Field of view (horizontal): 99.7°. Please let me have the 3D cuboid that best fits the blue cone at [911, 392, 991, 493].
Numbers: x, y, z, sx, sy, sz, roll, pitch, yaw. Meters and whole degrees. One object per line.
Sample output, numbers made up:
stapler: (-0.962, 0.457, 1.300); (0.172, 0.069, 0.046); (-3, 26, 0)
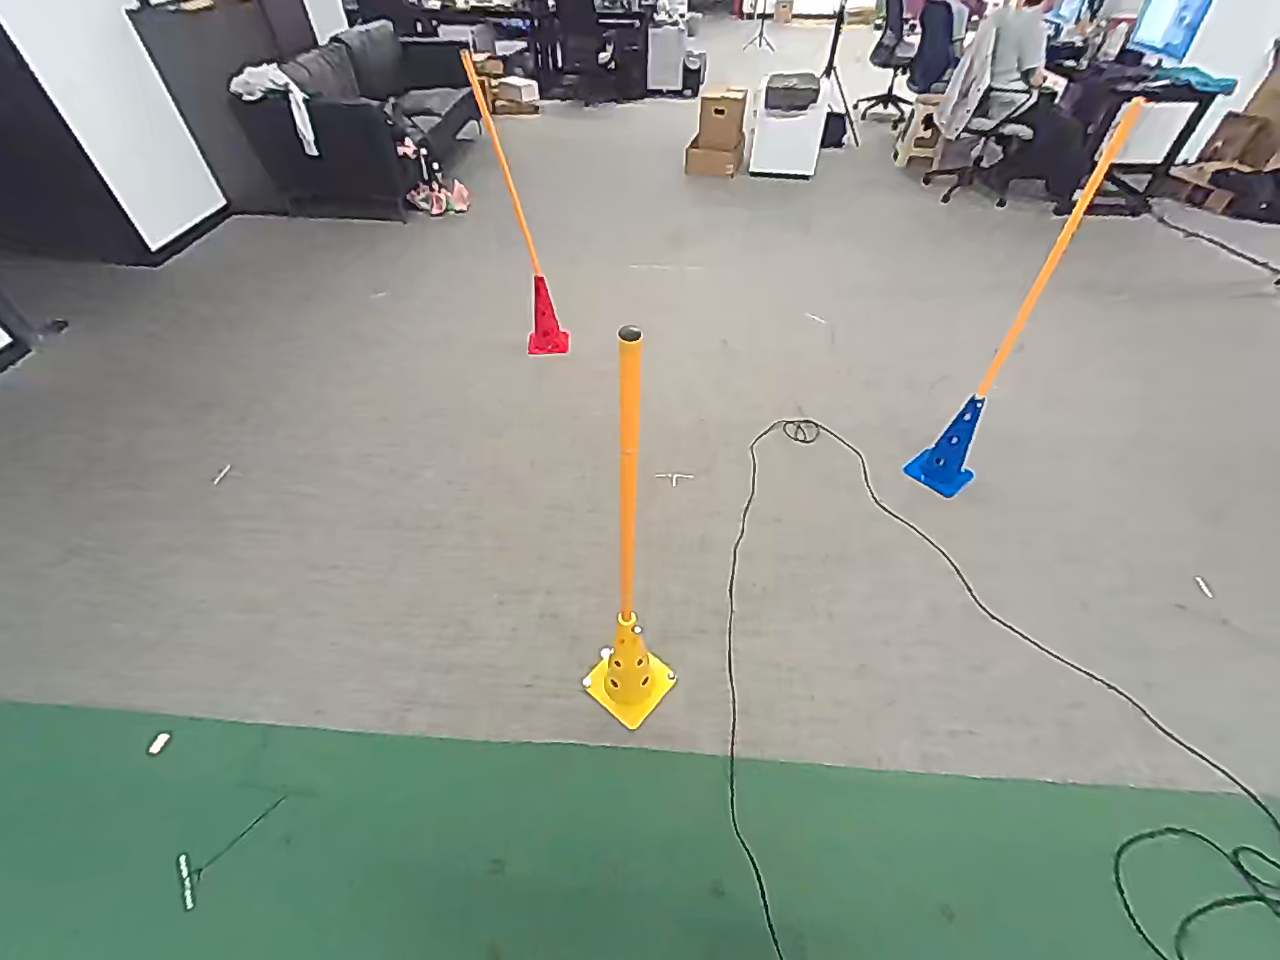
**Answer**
blue cone: (1.156, -0.155, 1.955); (0.193, 0.380, 0.192); (-31, 53, -29)
